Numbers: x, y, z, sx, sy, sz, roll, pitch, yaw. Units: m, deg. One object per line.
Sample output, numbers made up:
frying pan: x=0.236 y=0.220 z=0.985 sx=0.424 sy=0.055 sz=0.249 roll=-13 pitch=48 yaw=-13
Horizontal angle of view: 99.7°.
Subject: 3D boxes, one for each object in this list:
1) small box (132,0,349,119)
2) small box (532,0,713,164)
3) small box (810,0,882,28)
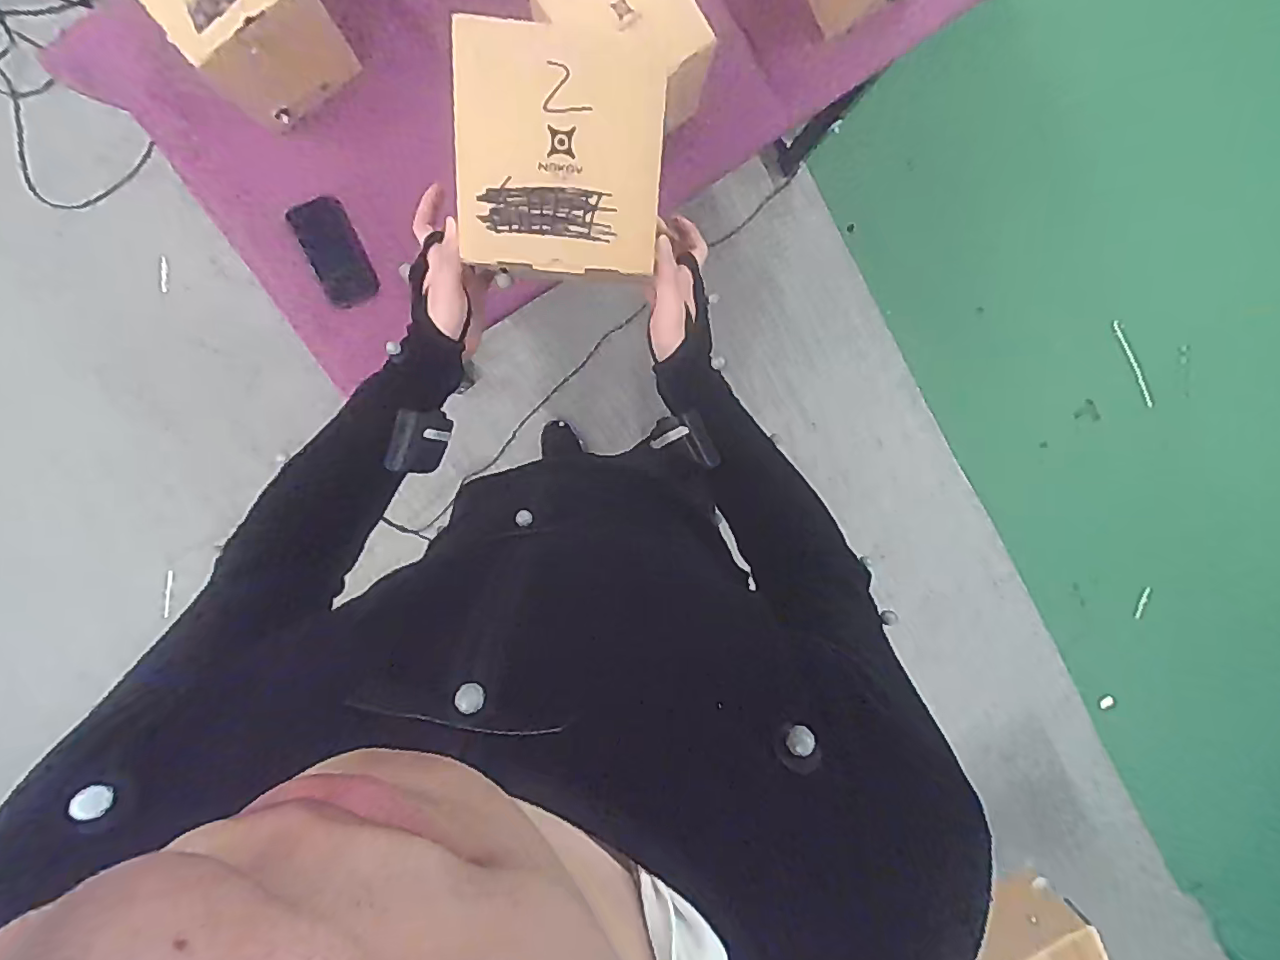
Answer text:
small box: x=-0.511 y=-0.597 z=0.675 sx=0.168 sy=0.176 sz=0.179 roll=-38 pitch=99 yaw=0
small box: x=-0.032 y=-0.577 z=0.726 sx=0.168 sy=0.176 sz=0.179 roll=-36 pitch=99 yaw=0
small box: x=0.313 y=-0.781 z=0.728 sx=0.168 sy=0.176 sz=0.179 roll=-31 pitch=99 yaw=1
